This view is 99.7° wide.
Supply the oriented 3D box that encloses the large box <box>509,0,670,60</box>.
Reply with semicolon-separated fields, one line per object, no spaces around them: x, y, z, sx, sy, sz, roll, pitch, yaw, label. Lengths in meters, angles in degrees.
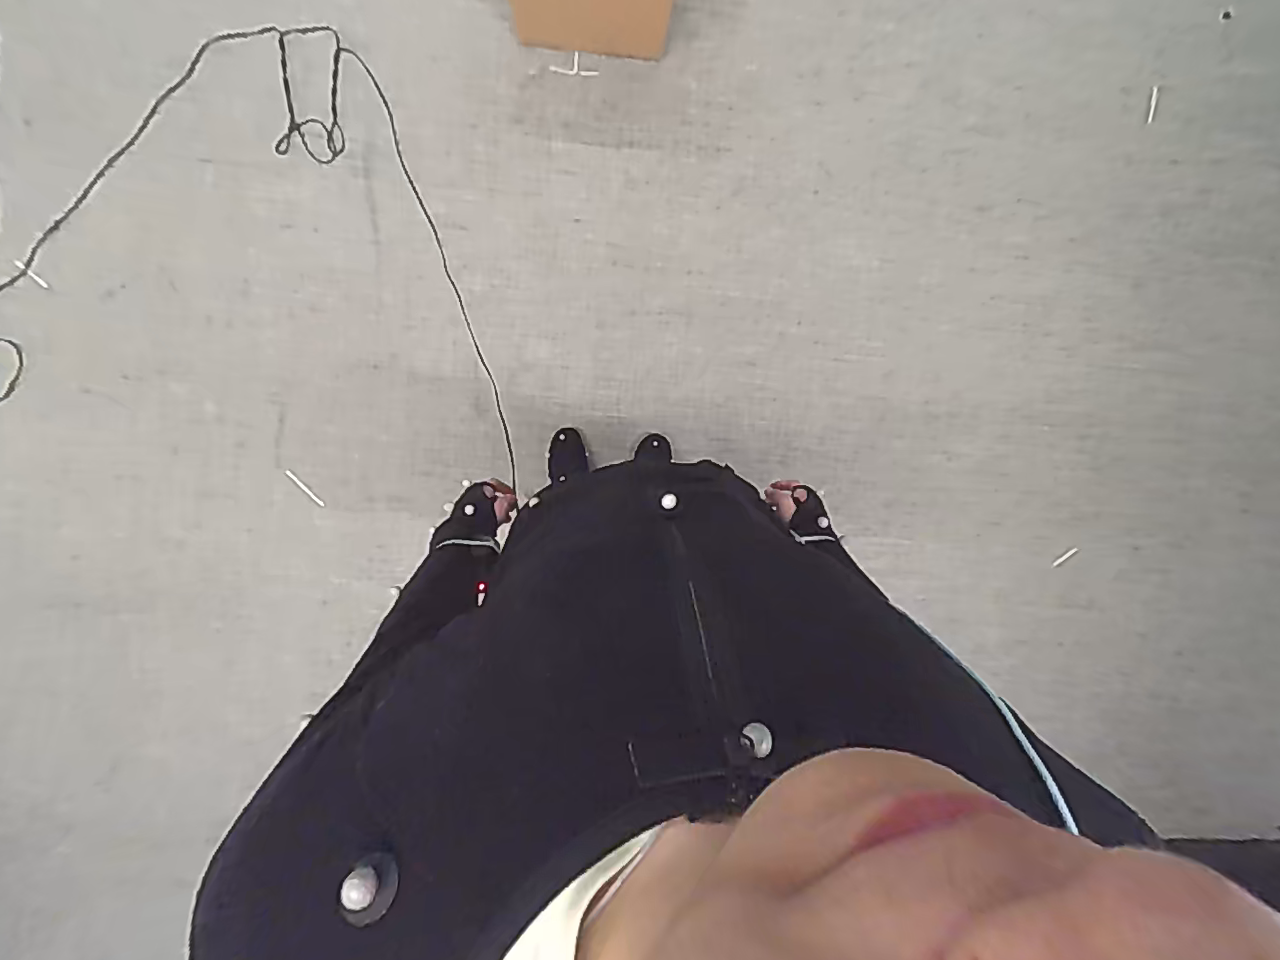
-0.128;-1.328;1.357;0.408;0.320;0.320;2;96;-5;large box
